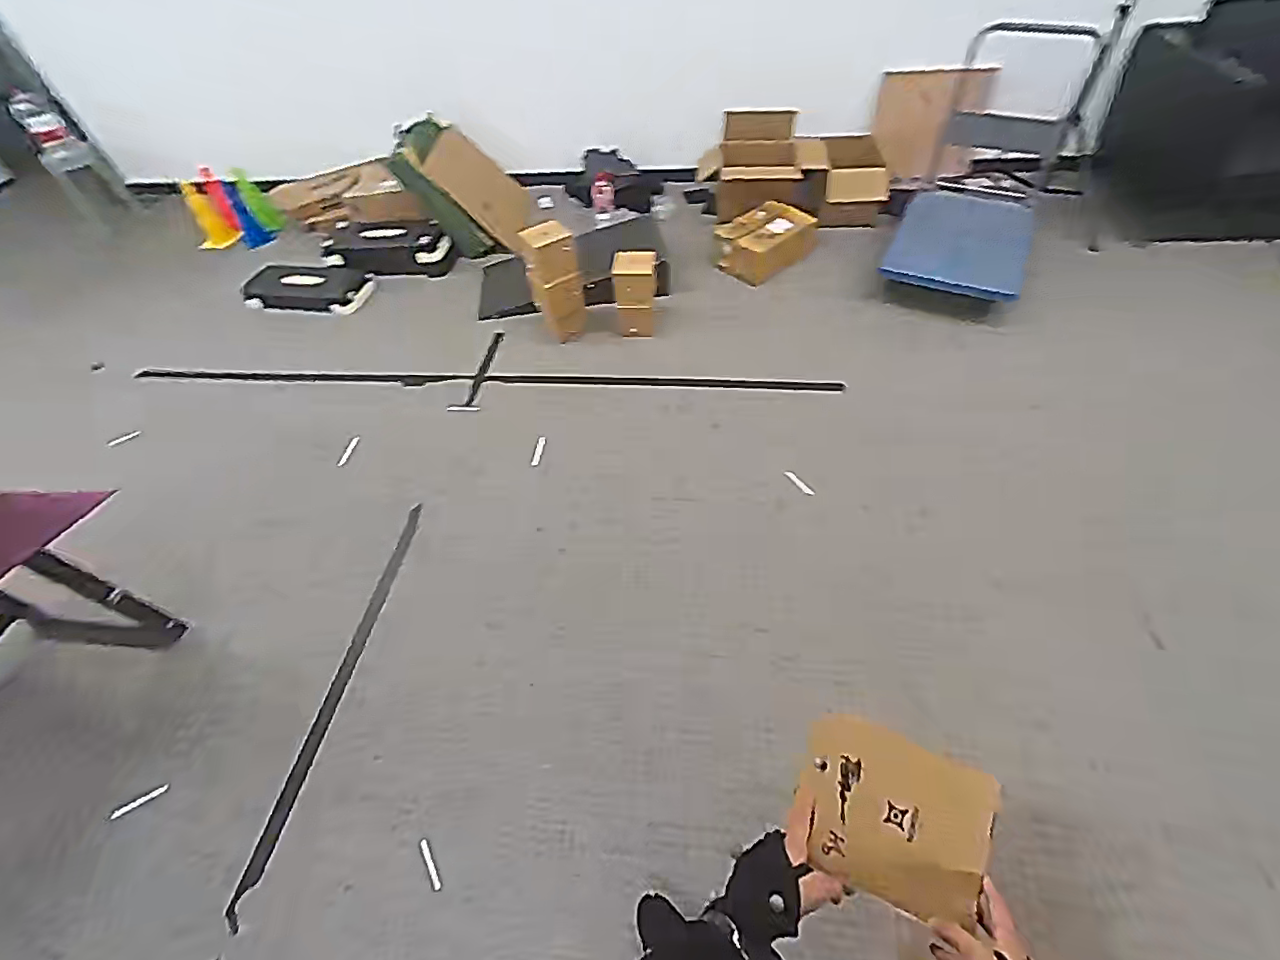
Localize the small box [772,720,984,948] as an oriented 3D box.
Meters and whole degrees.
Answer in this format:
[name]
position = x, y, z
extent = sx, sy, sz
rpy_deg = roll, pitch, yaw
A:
[small box]
position = 0.283, 0.417, 0.673
extent = 0.179, 0.176, 0.168
rpy_deg = 21, 67, 14
